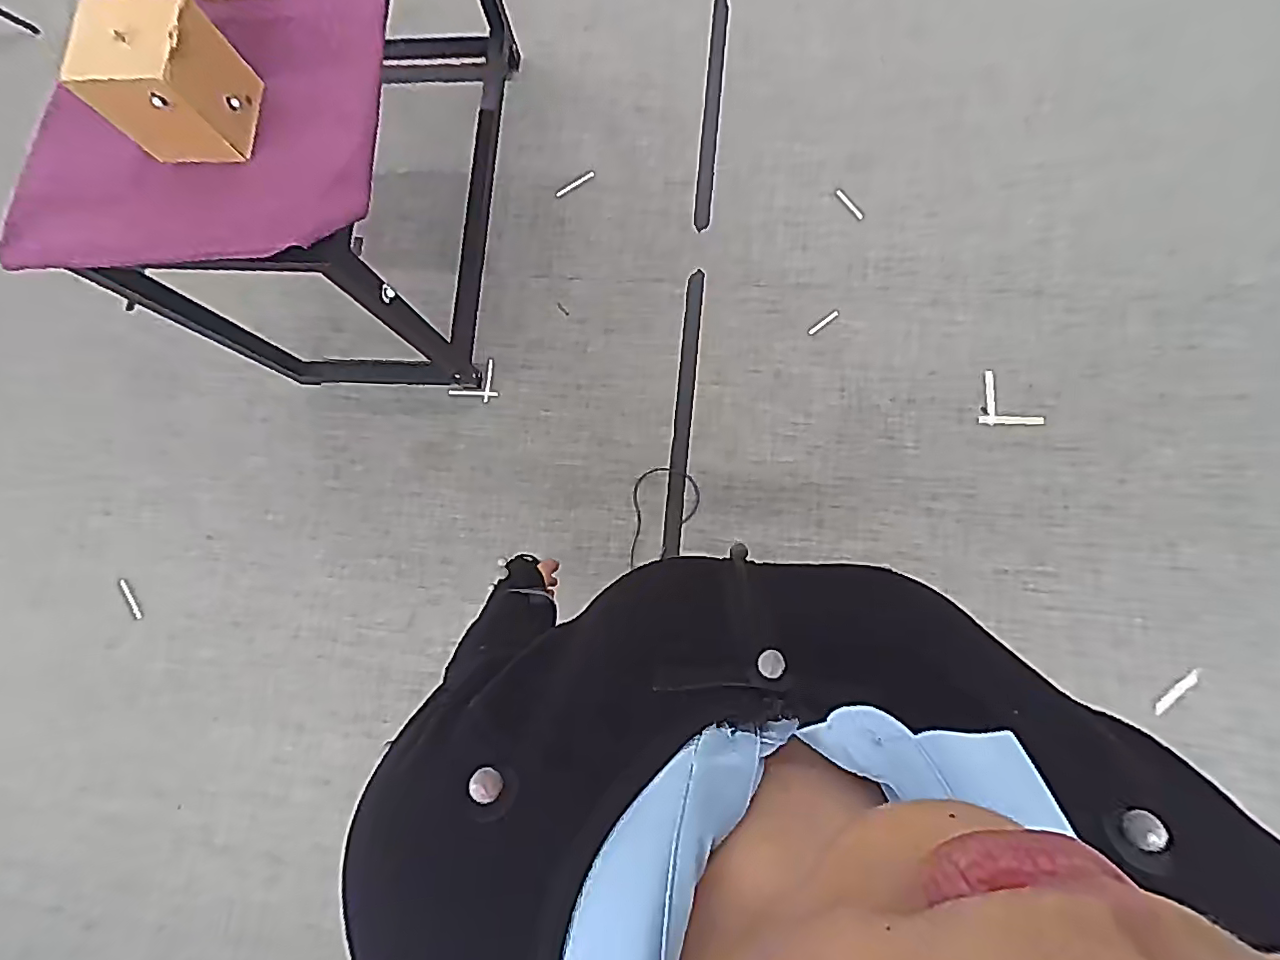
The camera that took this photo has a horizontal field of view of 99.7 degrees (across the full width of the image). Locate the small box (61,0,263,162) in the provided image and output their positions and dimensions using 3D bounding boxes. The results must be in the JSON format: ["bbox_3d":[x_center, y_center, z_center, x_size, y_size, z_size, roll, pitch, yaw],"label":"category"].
[{"bbox_3d":[-0.791,-0.669,0.913,0.179,0.176,0.168,2,80,4],"label":"small box"}]
